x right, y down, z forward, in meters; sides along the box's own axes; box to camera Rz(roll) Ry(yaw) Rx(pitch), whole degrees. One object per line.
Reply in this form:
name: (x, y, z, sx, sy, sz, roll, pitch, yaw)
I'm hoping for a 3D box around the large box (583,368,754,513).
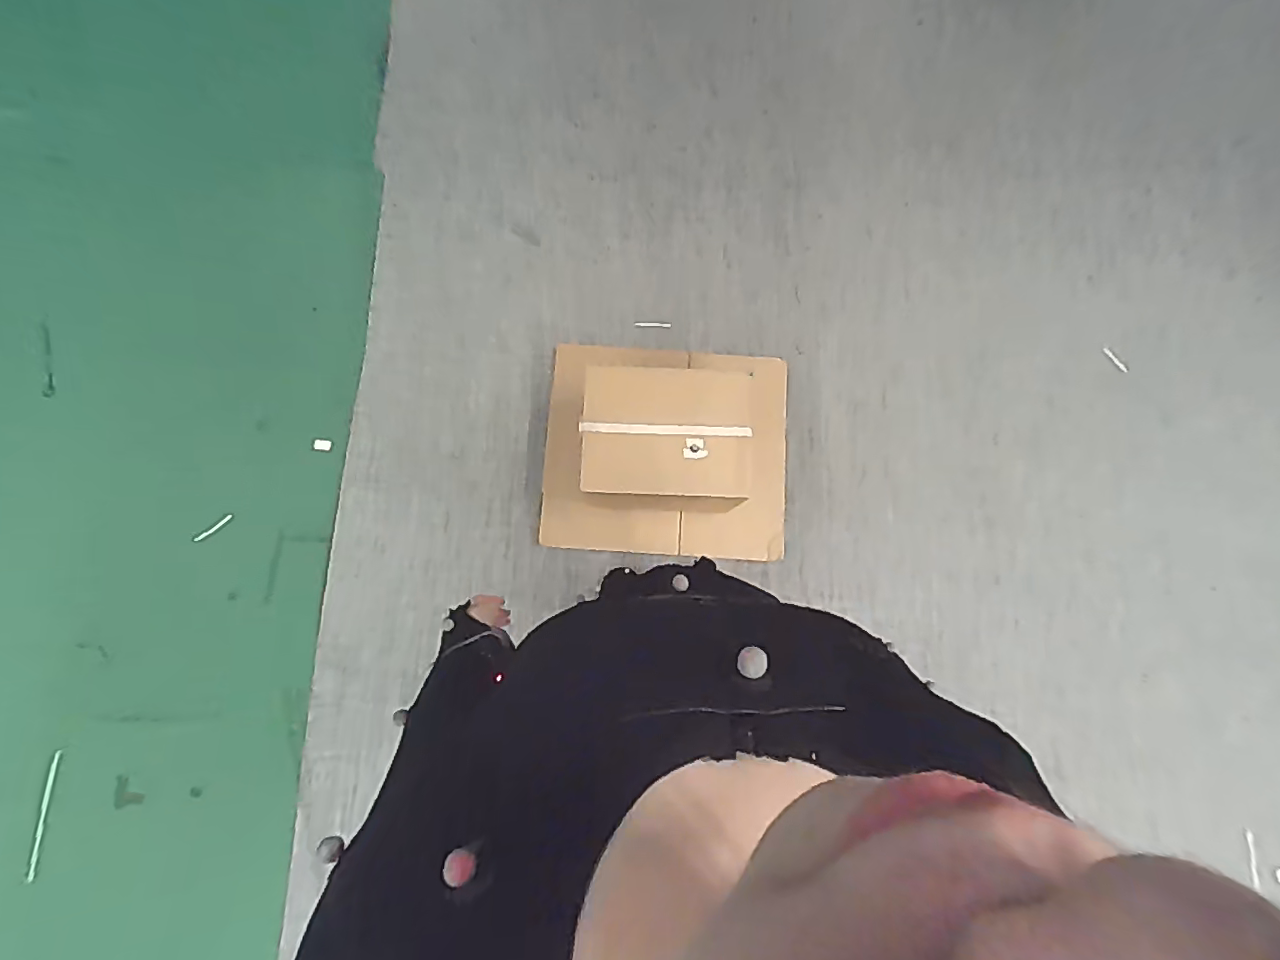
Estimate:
large box: (0.062, -0.086, 1.415, 0.408, 0.320, 0.320, 2, 80, -2)
